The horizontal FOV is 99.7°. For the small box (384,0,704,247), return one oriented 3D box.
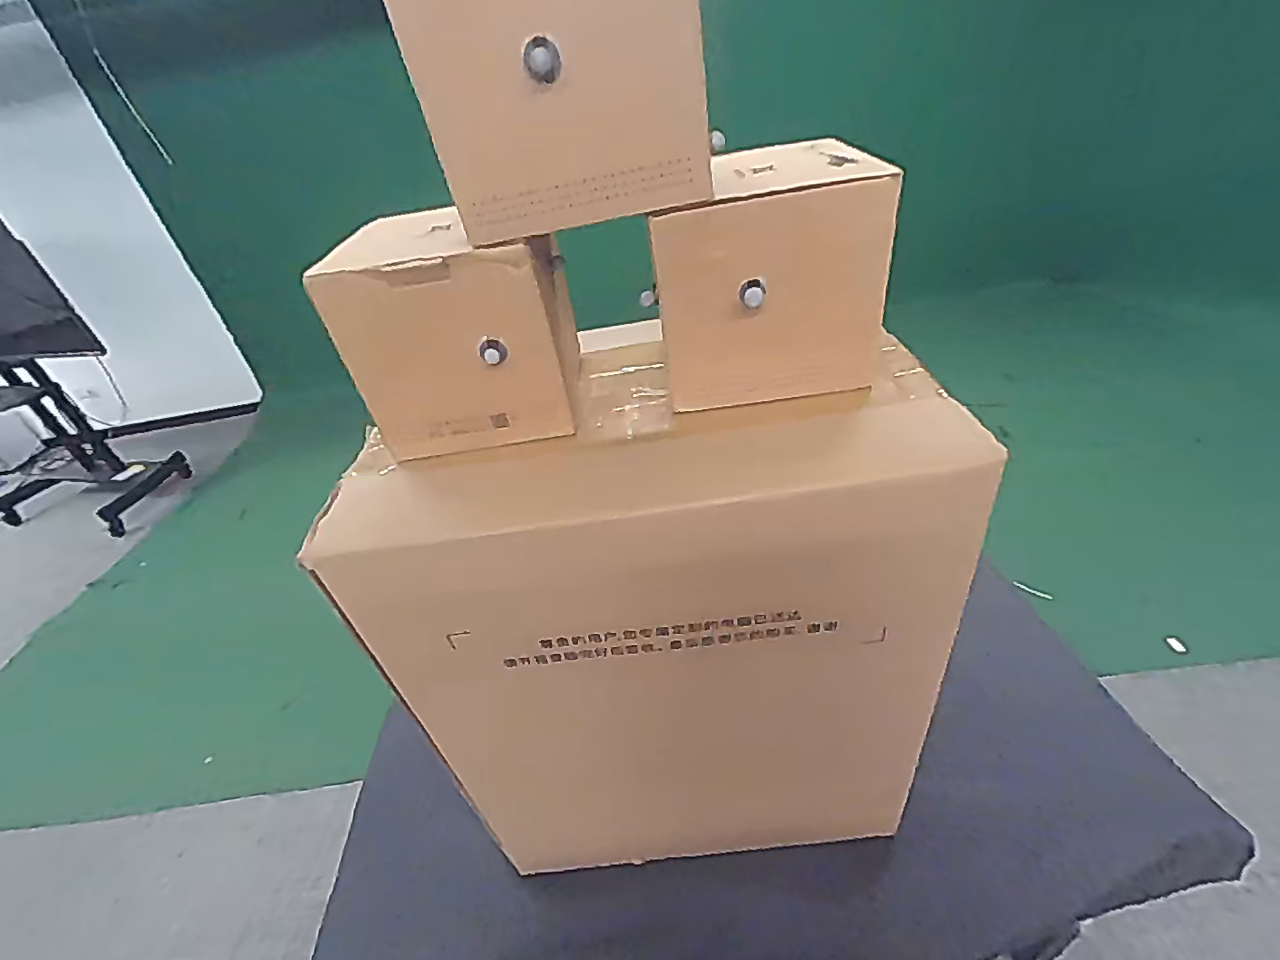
[{"bbox_3d":[-0.052,-0.287,0.391,0.179,0.176,0.168,-10,38,4],"label":"small box"}]

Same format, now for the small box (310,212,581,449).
[{"bbox_3d":[-0.152,-0.140,0.499,0.168,0.176,0.179,-8,37,2],"label":"small box"}]

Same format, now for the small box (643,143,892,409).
[{"bbox_3d":[0.101,-0.180,0.485,0.179,0.176,0.168,-8,39,5],"label":"small box"}]
